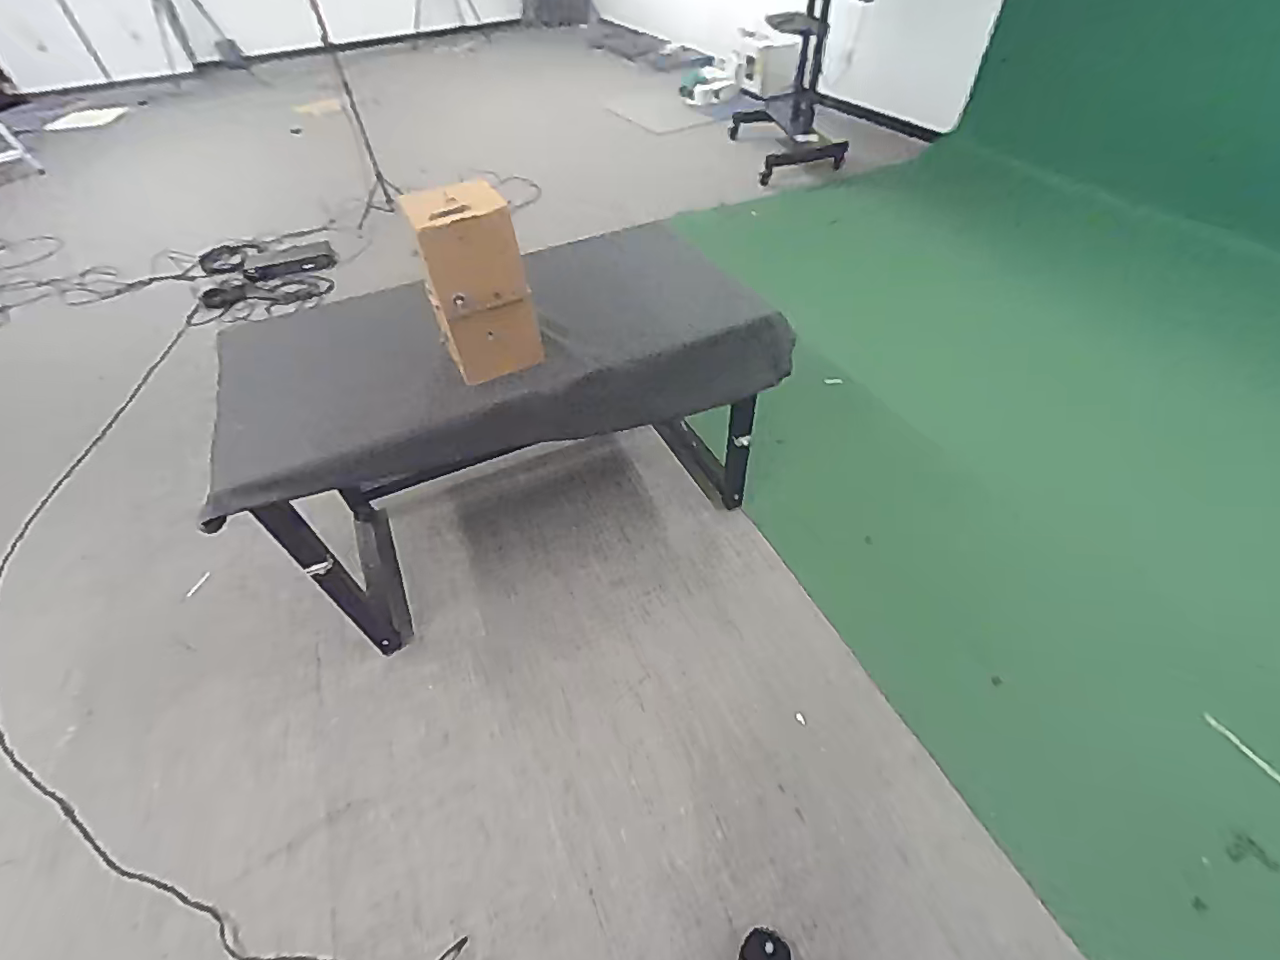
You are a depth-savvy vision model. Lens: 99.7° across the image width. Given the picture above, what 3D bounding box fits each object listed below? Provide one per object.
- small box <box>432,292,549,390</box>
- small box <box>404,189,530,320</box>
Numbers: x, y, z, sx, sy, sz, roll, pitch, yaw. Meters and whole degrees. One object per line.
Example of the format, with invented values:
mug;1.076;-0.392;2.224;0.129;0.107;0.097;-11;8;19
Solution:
small box;-0.316;-0.319;1.161;0.179;0.176;0.168;-26;49;-19
small box;-0.324;-0.424;1.031;0.168;0.176;0.179;-23;48;-16
